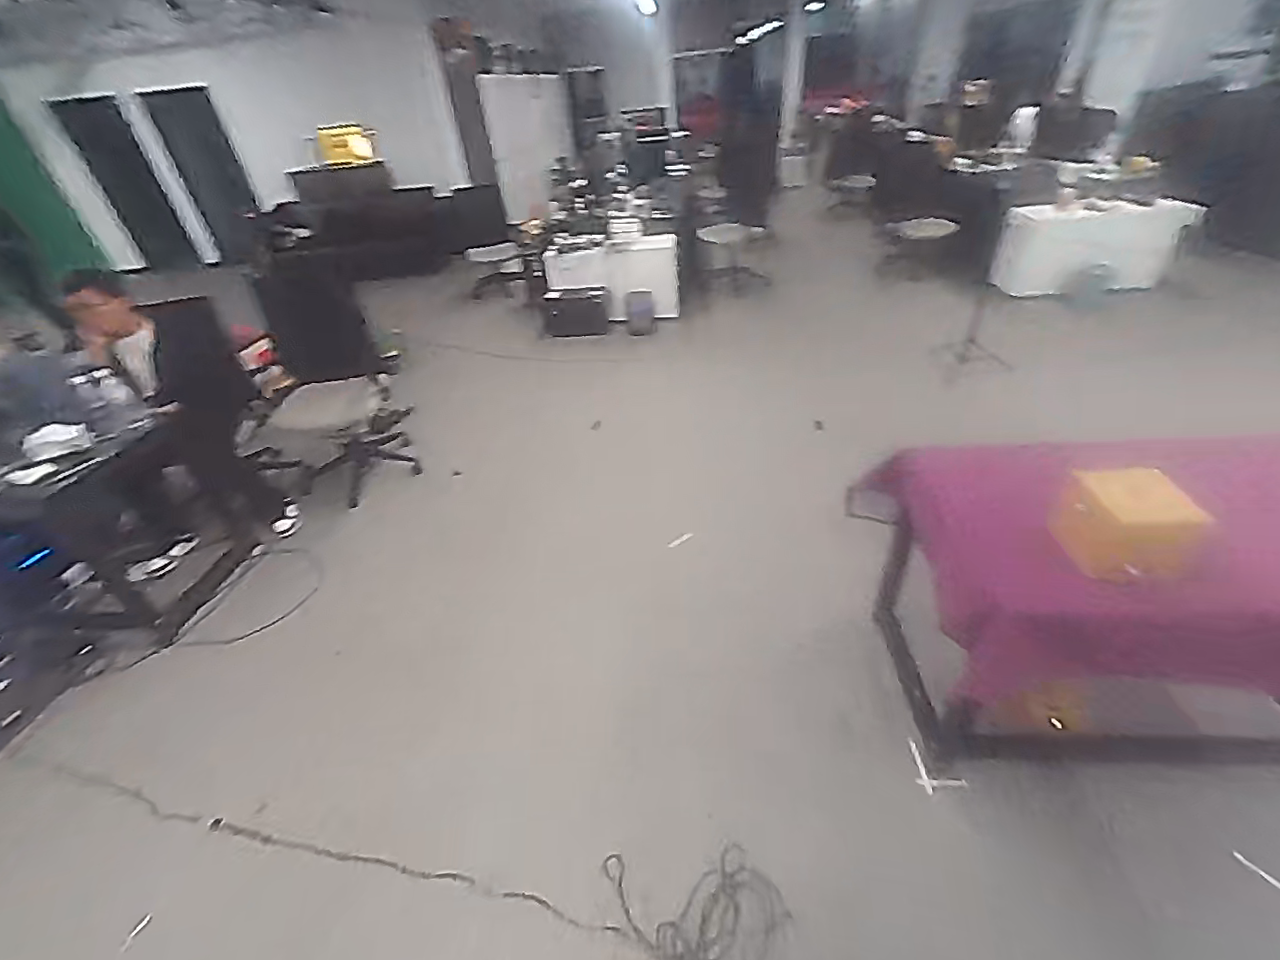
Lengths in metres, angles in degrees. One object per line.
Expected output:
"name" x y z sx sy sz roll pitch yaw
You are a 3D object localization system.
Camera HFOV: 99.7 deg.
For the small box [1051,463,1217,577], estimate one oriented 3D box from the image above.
"small box" 1.015 0.082 1.135 0.168 0.176 0.179 -2 37 7
